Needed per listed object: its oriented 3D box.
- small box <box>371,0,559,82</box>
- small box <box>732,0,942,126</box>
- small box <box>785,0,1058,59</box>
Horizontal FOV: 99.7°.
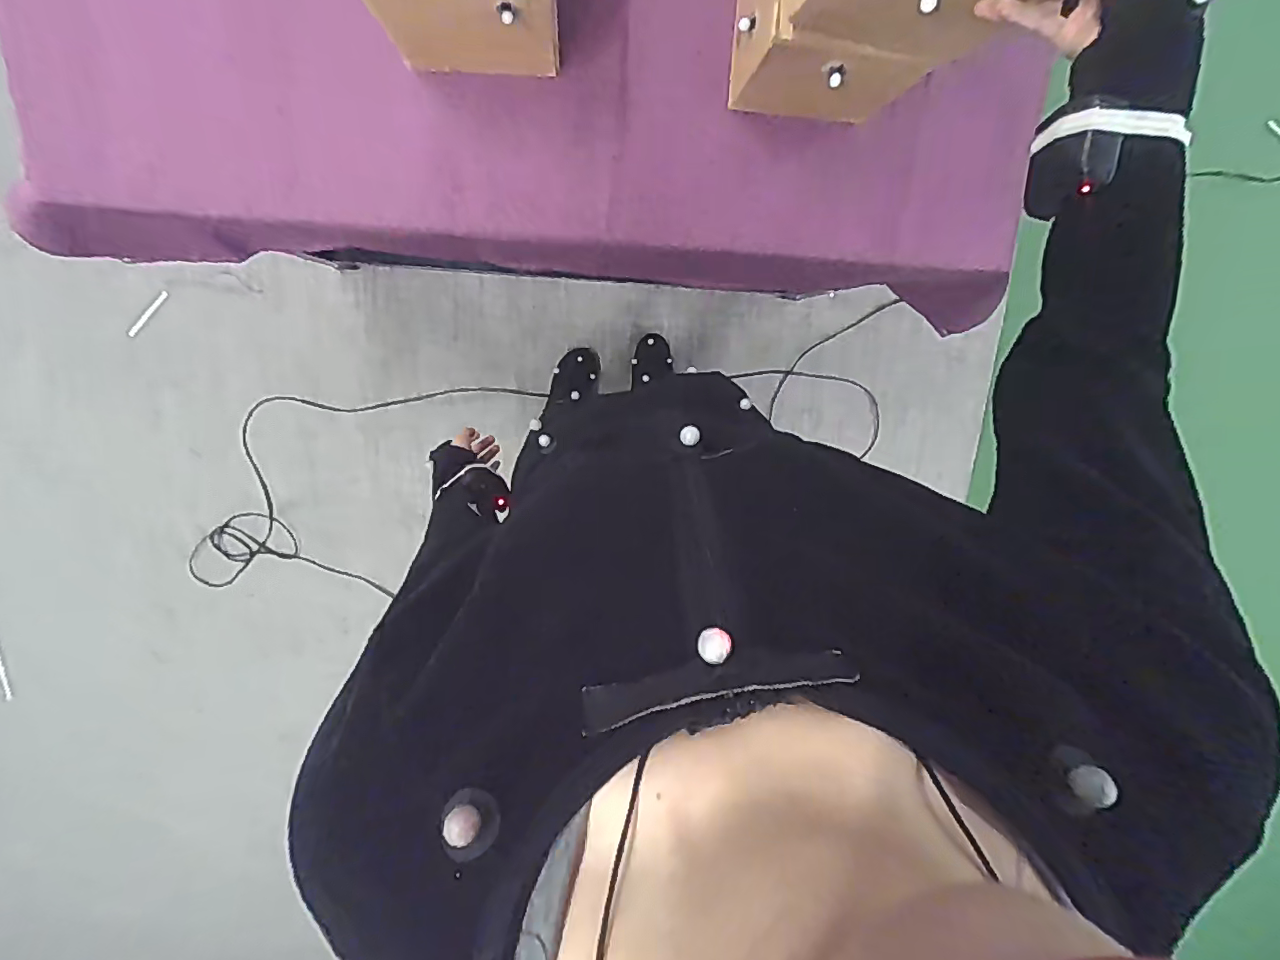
[{"bbox_3d":[-0.176,-0.529,0.539,0.179,0.176,0.168,-2,104,-5],"label":"small box"},{"bbox_3d":[0.206,-0.506,0.578,0.179,0.176,0.168,2,105,-7],"label":"small box"},{"bbox_3d":[0.237,-0.460,0.412,0.179,0.176,0.168,2,106,-12],"label":"small box"}]
